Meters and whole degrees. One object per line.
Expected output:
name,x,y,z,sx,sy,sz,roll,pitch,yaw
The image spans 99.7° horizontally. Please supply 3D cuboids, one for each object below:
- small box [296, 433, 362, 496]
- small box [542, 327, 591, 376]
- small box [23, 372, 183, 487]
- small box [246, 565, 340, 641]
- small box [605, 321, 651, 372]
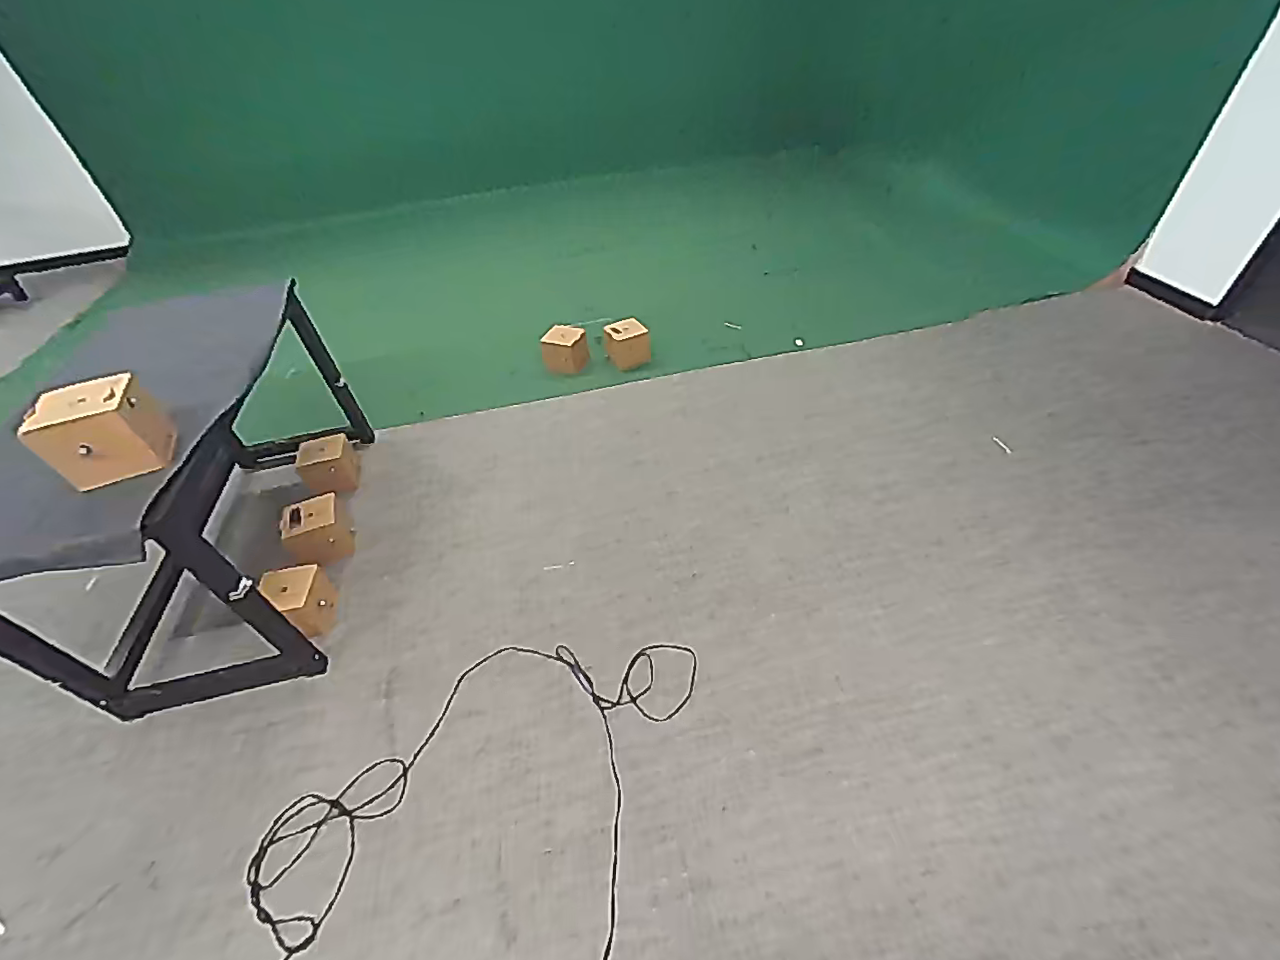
small box,-1.263,-0.063,2.211,0.179,0.176,0.168,-15,45,-9
small box,-0.363,-0.640,2.704,0.179,0.176,0.168,13,47,19
small box,-1.190,-0.111,1.215,0.179,0.176,0.168,-20,46,-15
small box,-1.101,0.397,1.736,0.179,0.176,0.168,-9,45,-3
small box,-0.056,-0.663,2.695,0.179,0.176,0.168,-22,47,-17
